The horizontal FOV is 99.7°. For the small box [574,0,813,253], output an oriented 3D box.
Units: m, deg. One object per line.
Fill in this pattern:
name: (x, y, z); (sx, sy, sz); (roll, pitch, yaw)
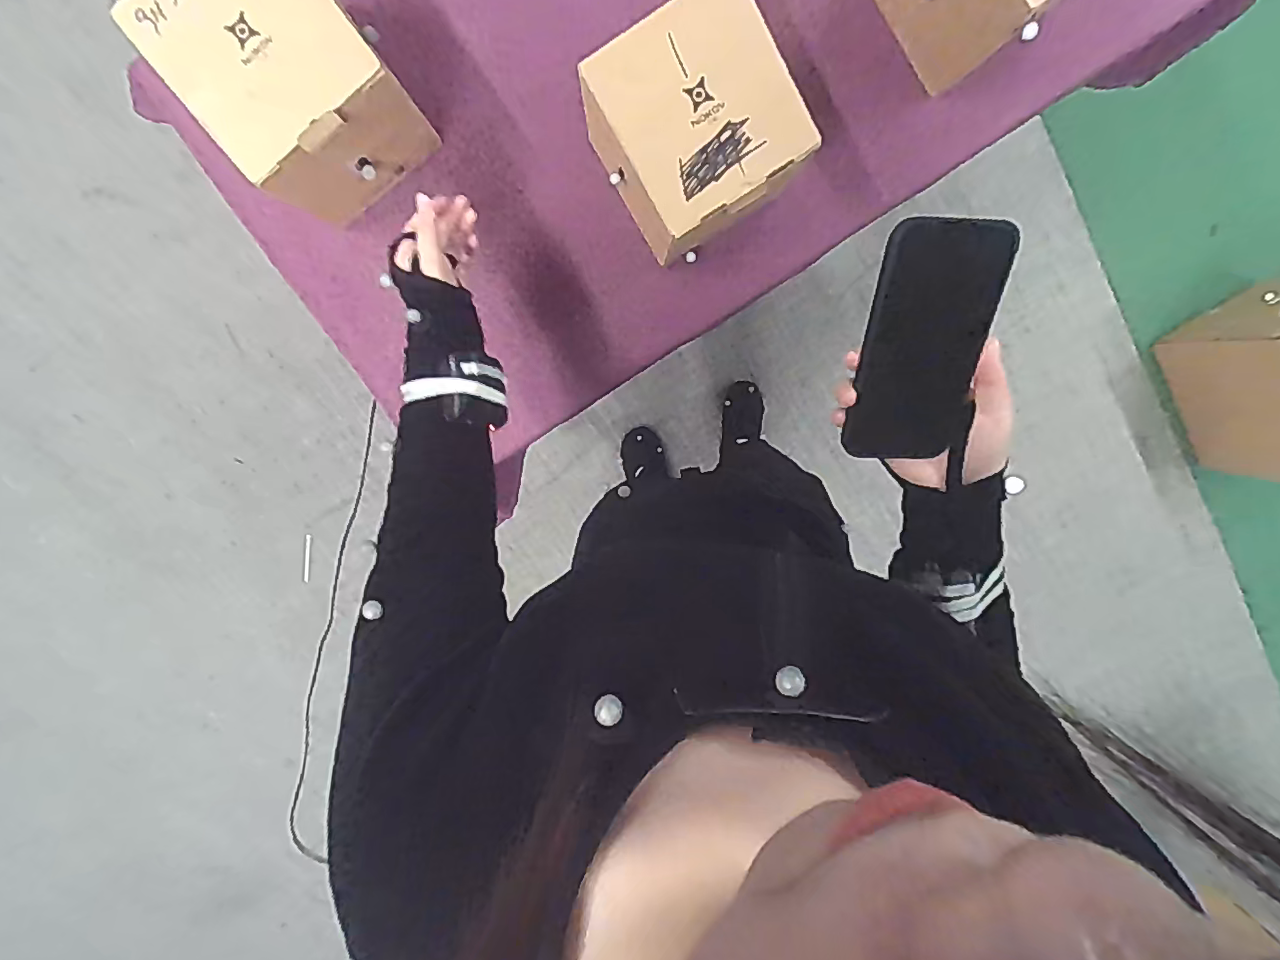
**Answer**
small box: (0.052, -0.366, 0.577); (0.168, 0.176, 0.179); (-31, 100, 5)

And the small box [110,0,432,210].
small box: (-0.350, -0.408, 0.557); (0.168, 0.176, 0.179); (-37, 102, 6)
